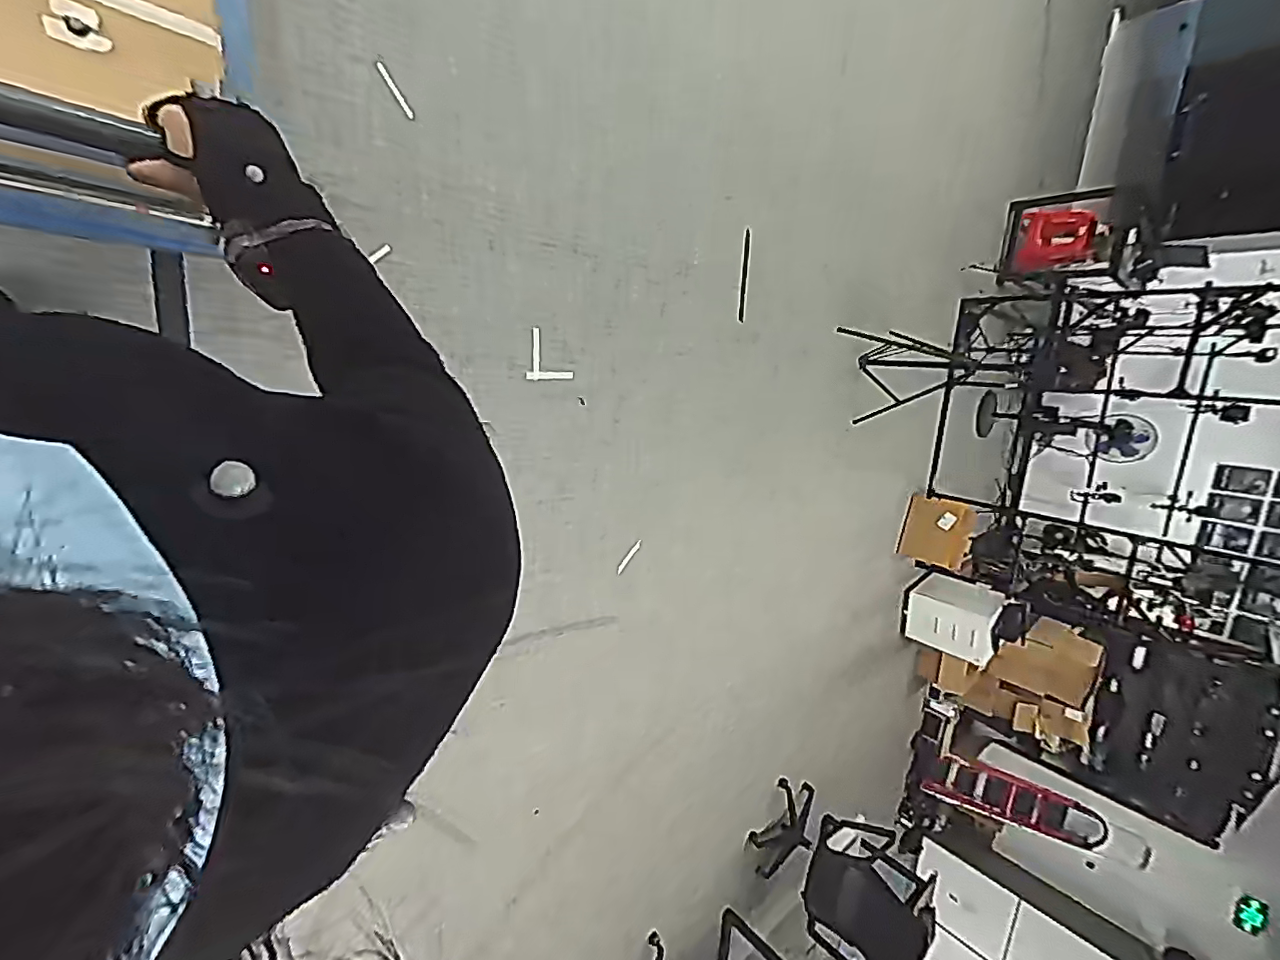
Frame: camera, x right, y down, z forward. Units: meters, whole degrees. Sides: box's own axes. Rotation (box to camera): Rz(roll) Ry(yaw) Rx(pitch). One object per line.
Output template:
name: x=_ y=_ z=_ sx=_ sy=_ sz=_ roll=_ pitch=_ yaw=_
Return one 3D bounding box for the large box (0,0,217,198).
large box: x=-0.827 y=-0.605 z=0.697 sx=0.408 sy=0.320 sz=0.320 roll=-4 pitch=105 yaw=-43
